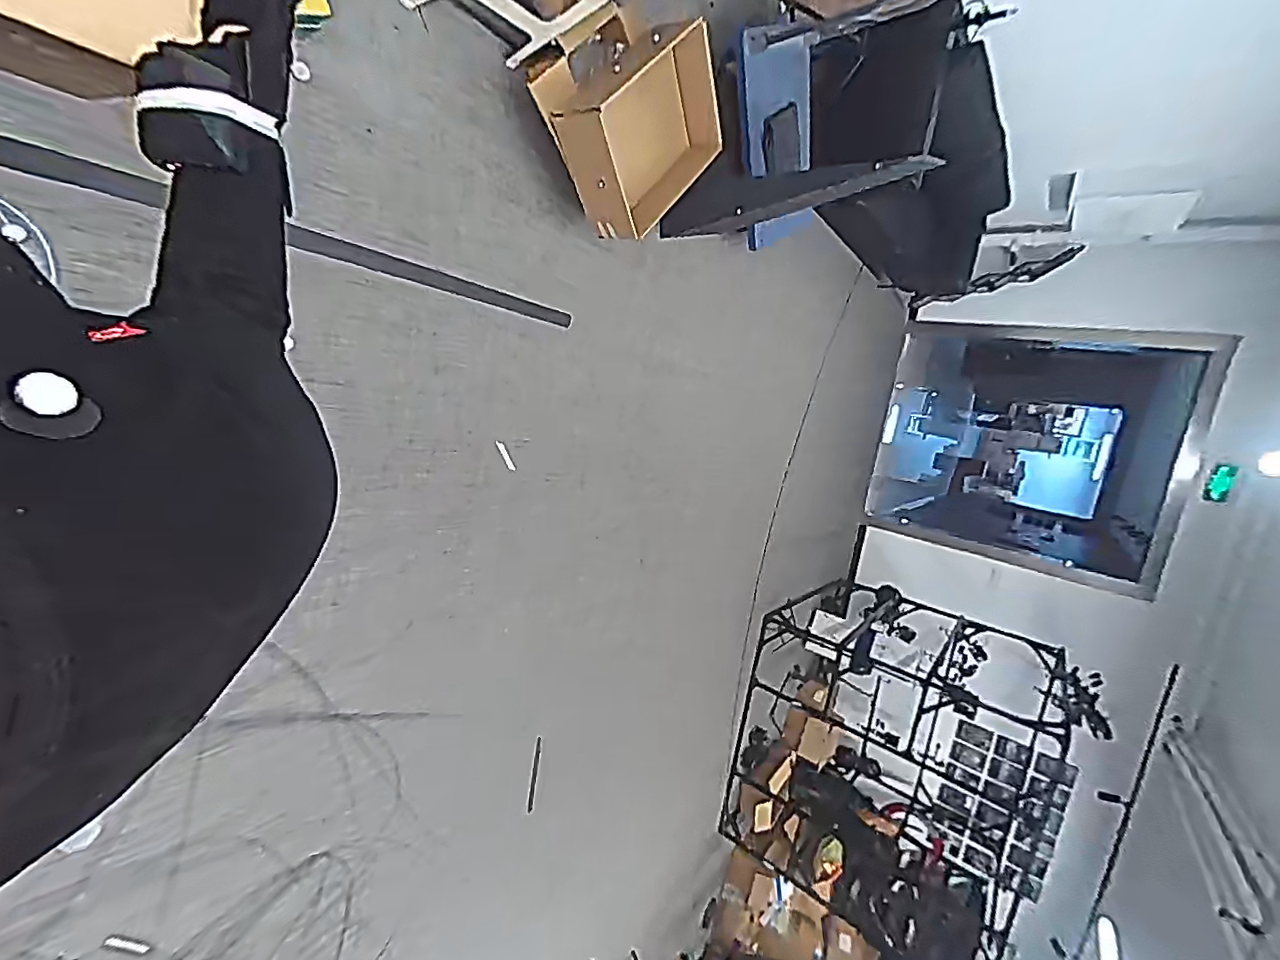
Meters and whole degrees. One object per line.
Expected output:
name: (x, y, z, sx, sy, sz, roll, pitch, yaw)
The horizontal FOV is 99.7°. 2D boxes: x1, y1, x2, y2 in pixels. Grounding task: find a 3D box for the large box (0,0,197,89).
large box: (-0.516, -0.460, 0.263, 0.408, 0.320, 0.320, -8, 118, -55)
